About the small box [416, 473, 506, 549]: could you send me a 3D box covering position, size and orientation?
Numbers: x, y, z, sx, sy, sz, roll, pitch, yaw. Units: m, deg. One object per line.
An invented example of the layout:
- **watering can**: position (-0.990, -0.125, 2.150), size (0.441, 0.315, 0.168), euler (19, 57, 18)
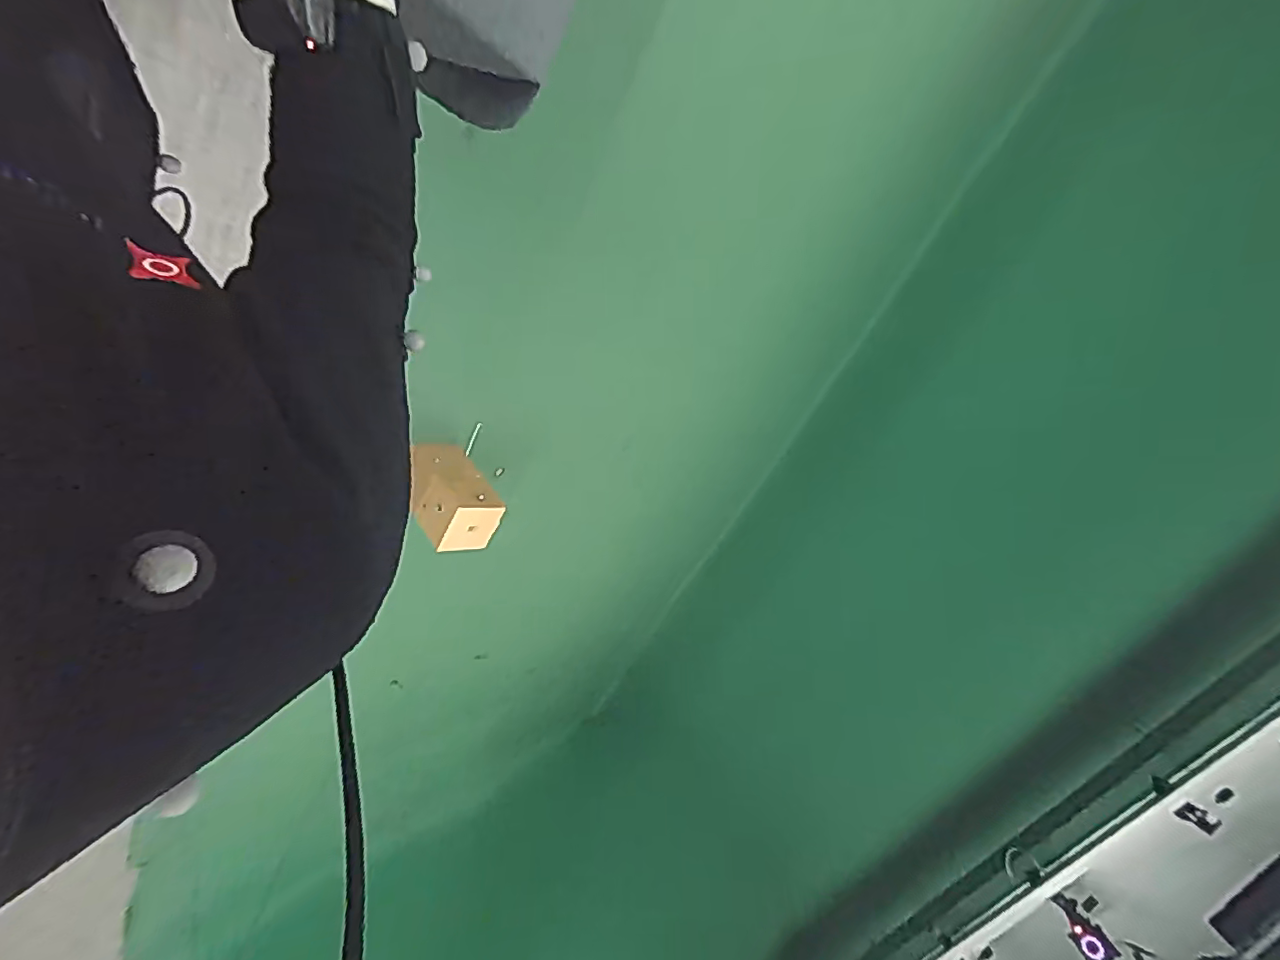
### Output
- **small box**: position (-0.552, 0.091, 1.654), size (0.179, 0.176, 0.168), euler (4, 124, -54)
